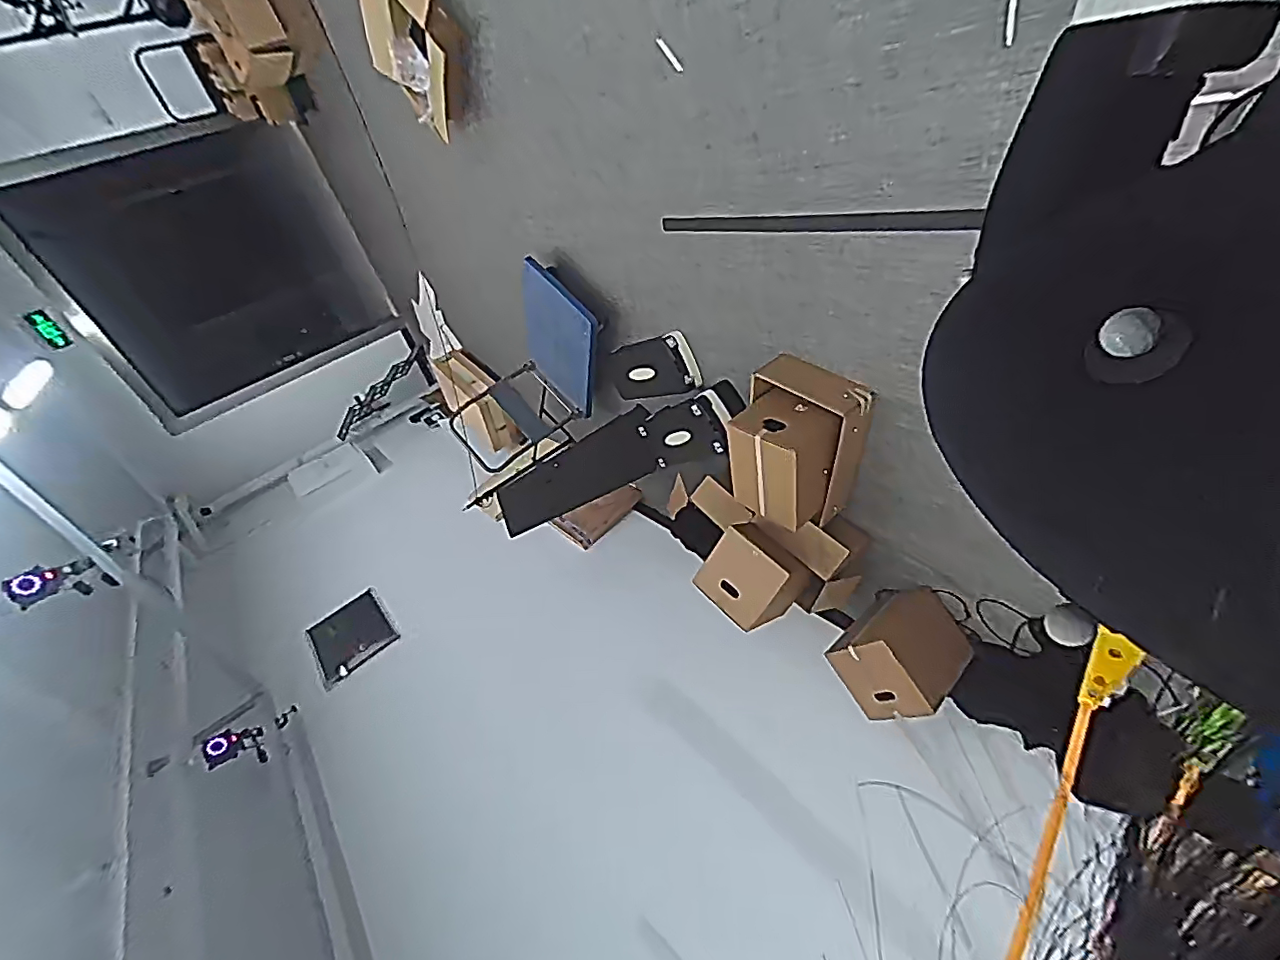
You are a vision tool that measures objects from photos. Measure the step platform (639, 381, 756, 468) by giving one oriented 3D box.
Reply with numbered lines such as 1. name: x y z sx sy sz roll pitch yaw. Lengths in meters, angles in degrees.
1. step platform: 0.254 -0.252 2.674 0.286 0.204 0.684 58 155 -9
